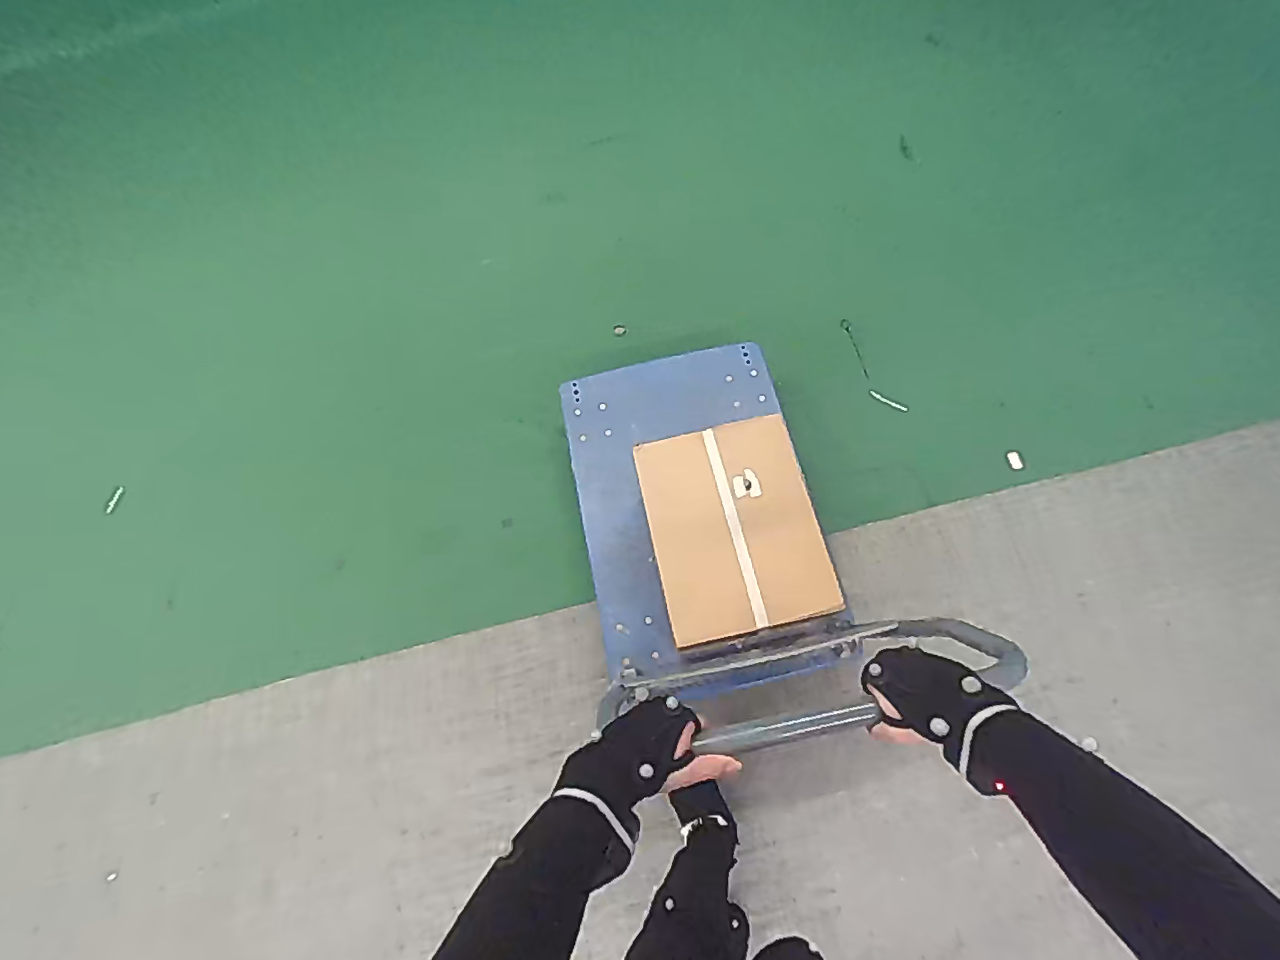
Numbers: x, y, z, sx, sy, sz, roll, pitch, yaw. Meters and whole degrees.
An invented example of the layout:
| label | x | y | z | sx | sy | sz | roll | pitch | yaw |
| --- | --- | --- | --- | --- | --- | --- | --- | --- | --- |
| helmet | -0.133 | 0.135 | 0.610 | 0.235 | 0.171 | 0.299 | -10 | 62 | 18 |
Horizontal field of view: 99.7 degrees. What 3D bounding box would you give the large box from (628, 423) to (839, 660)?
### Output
| label | x | y | z | sx | sy | sz | roll | pitch | yaw |
| --- | --- | --- | --- | --- | --- | --- | --- | --- | --- |
| large box | 0.180 | 0.148 | 1.177 | 0.320 | 0.320 | 0.408 | -13 | 69 | -2 |
